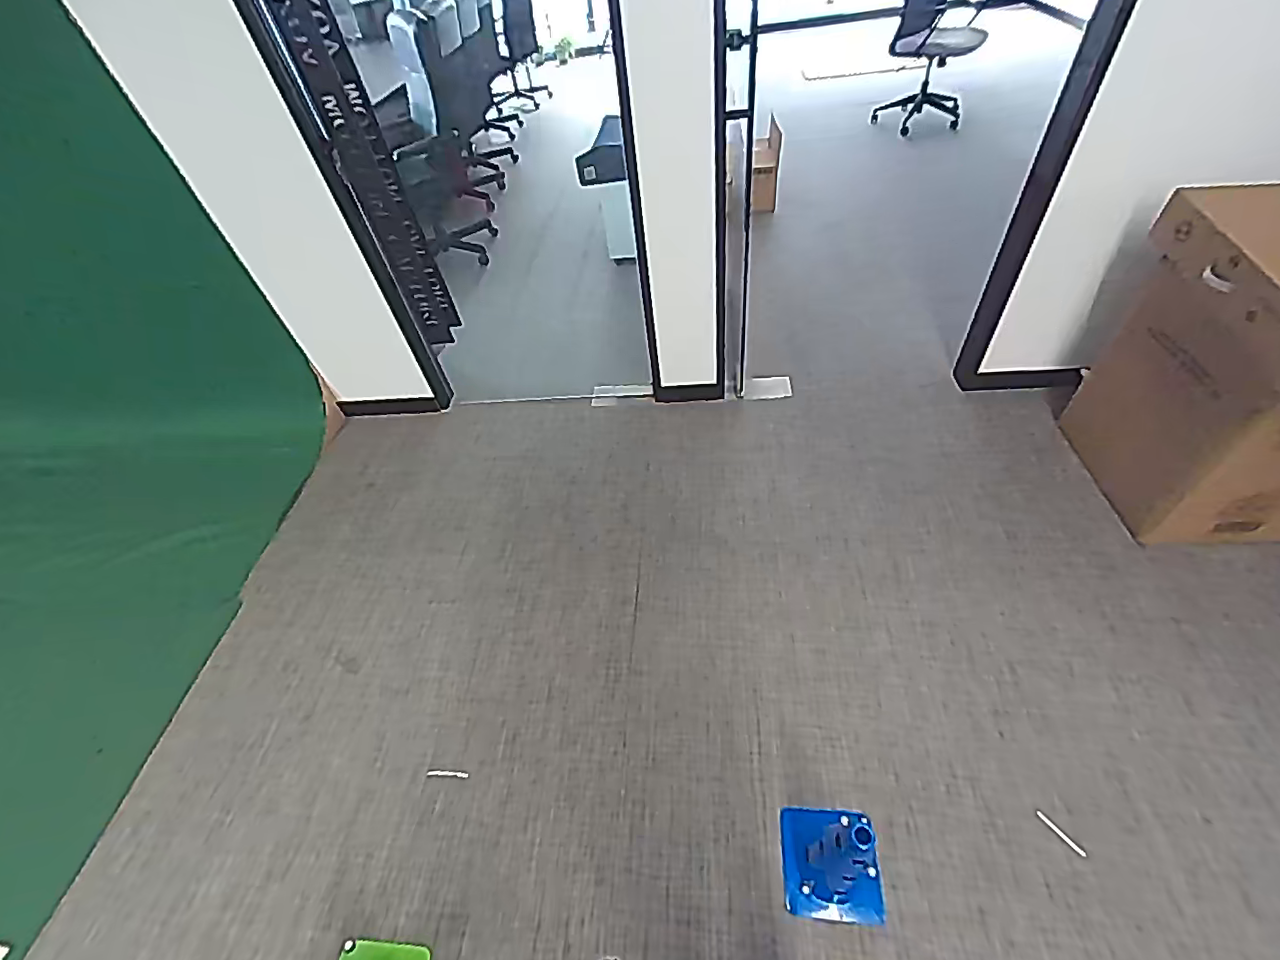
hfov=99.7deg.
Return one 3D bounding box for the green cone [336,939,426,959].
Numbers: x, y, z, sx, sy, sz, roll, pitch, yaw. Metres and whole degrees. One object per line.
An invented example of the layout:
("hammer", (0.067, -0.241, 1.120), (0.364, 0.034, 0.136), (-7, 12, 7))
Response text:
("green cone", (-0.568, 0.950, 0.964), (0.202, 0.368, 0.200), (-1, 48, 7))
